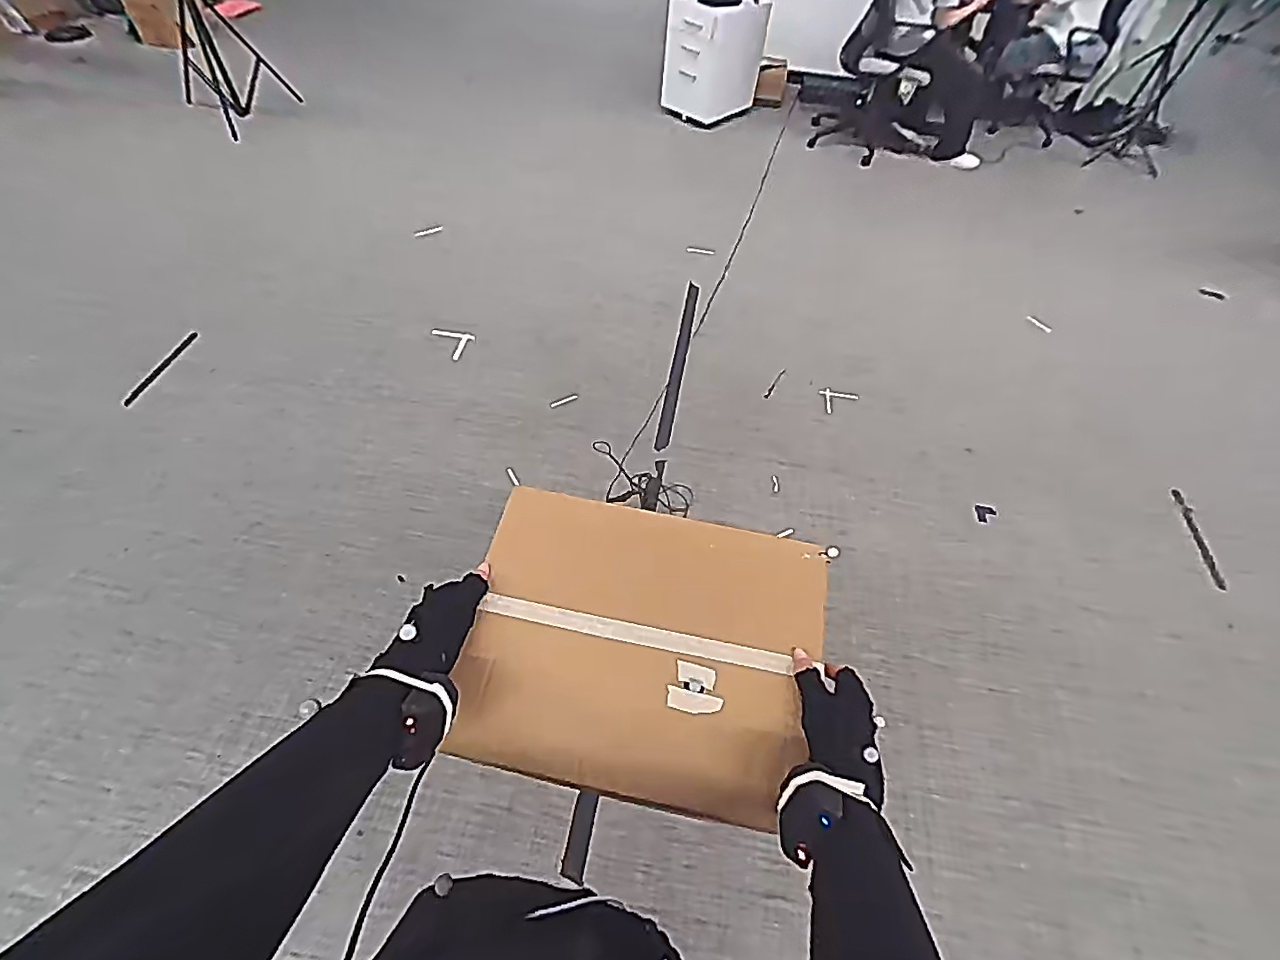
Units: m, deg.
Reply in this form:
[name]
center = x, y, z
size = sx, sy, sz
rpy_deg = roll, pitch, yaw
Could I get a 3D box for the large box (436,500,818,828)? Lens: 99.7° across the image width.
[large box]
center = -0.002, 0.263, 0.755
size = 0.408, 0.320, 0.320
rpy_deg = 11, 60, 4
